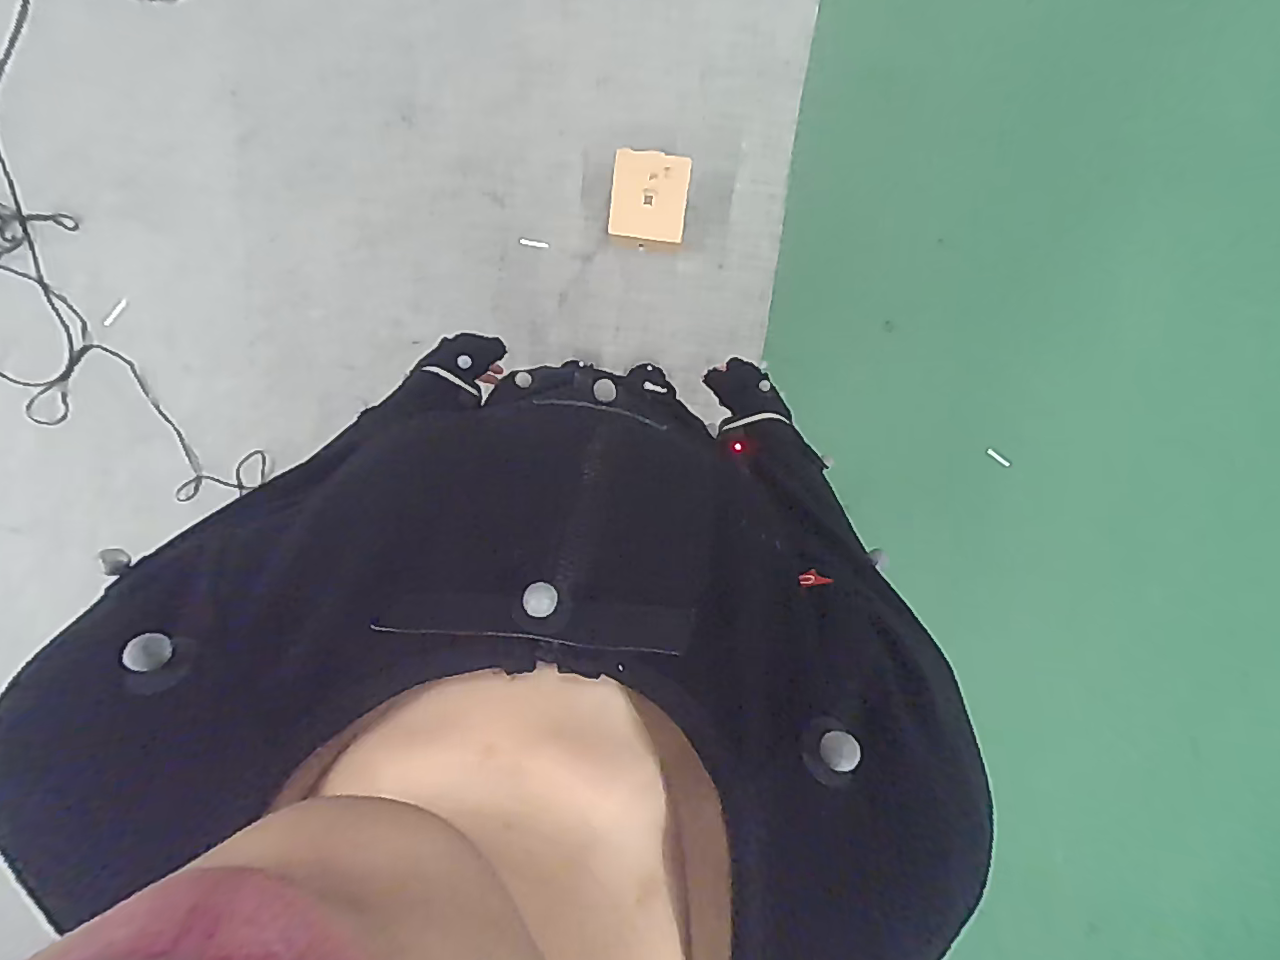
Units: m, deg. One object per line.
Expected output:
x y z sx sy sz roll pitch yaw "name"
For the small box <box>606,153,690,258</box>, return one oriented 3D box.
0.016 -0.625 1.253 0.168 0.176 0.179 7 103 -2 "small box"
